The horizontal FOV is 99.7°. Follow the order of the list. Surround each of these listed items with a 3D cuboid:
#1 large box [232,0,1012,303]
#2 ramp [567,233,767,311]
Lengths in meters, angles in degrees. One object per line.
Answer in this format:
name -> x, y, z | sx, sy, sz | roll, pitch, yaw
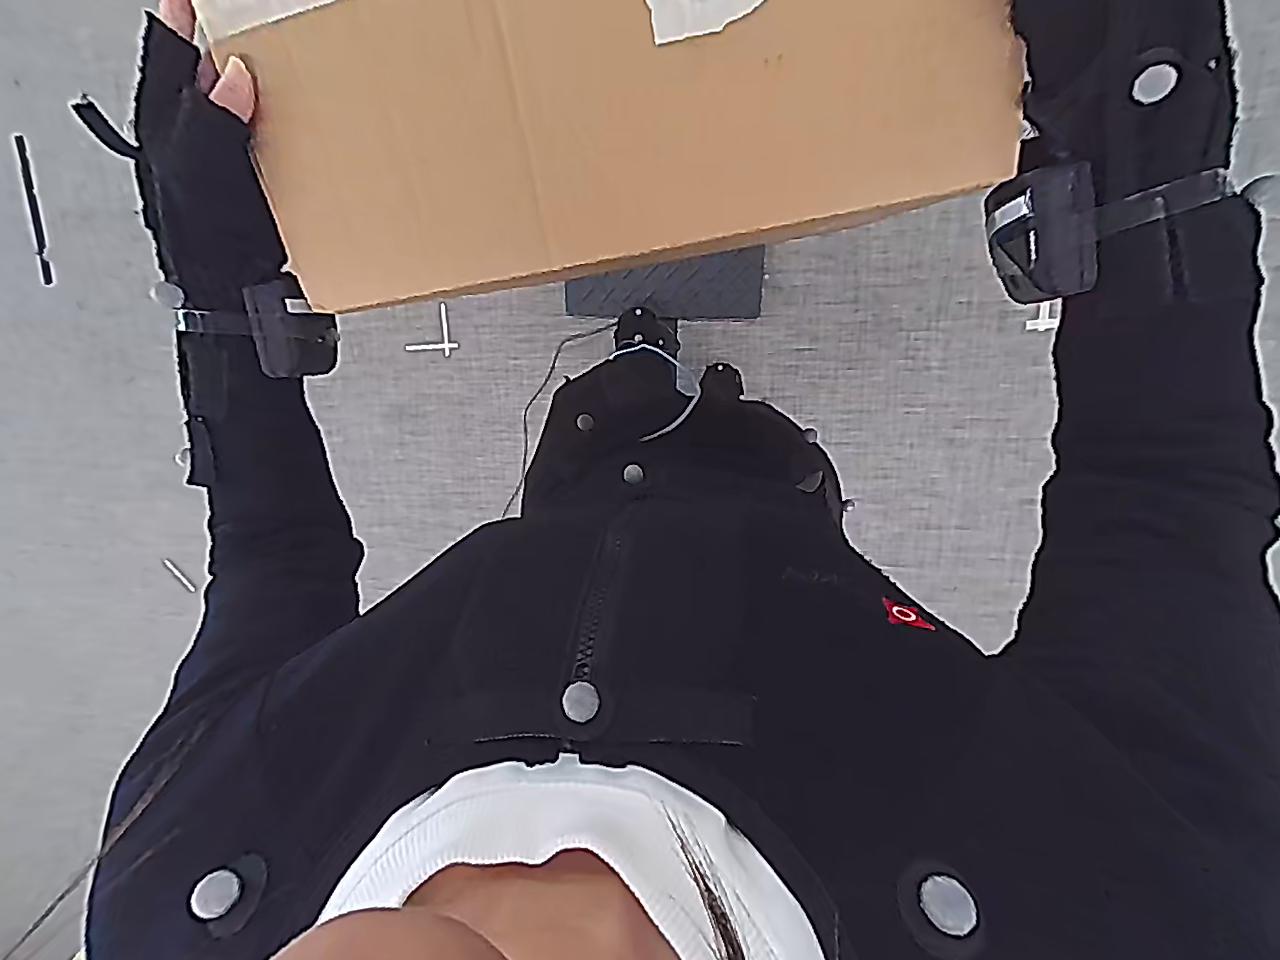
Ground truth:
large box -> -0.013, -0.334, 0.400 | 0.408, 0.320, 0.320 | -6, 111, 12
ramp -> 0.055, -0.885, 1.167 | 0.509, 0.206, 0.991 | 2, 103, 8
